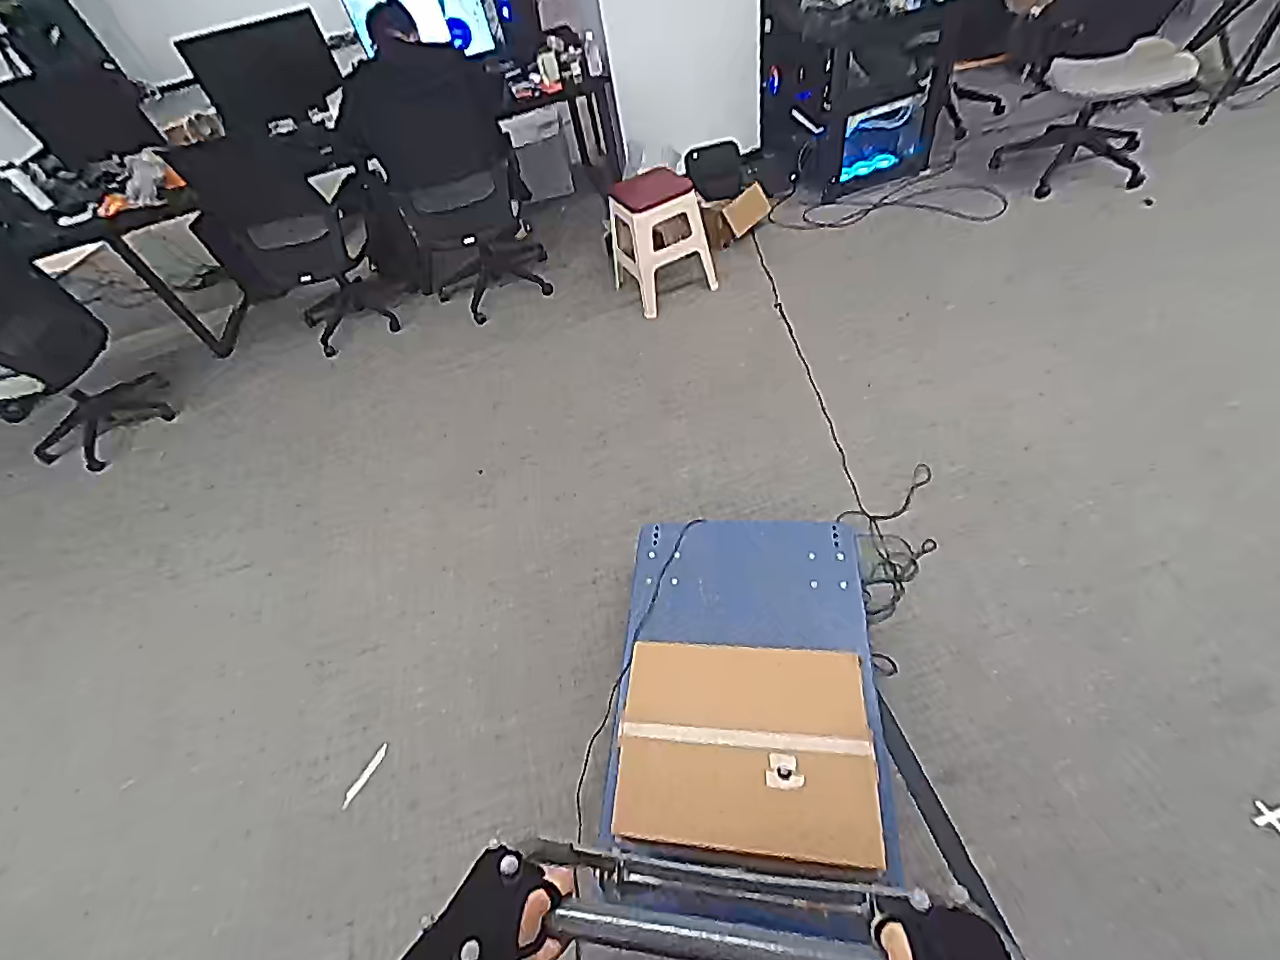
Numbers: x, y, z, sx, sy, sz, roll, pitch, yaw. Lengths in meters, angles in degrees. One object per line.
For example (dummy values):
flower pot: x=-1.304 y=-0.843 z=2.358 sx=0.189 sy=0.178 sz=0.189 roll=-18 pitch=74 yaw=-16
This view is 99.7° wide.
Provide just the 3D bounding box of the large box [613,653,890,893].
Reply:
large box: x=0.190 y=0.531 z=0.983 sx=0.408 sy=0.320 sz=0.320 roll=0 pitch=52 yaw=12
